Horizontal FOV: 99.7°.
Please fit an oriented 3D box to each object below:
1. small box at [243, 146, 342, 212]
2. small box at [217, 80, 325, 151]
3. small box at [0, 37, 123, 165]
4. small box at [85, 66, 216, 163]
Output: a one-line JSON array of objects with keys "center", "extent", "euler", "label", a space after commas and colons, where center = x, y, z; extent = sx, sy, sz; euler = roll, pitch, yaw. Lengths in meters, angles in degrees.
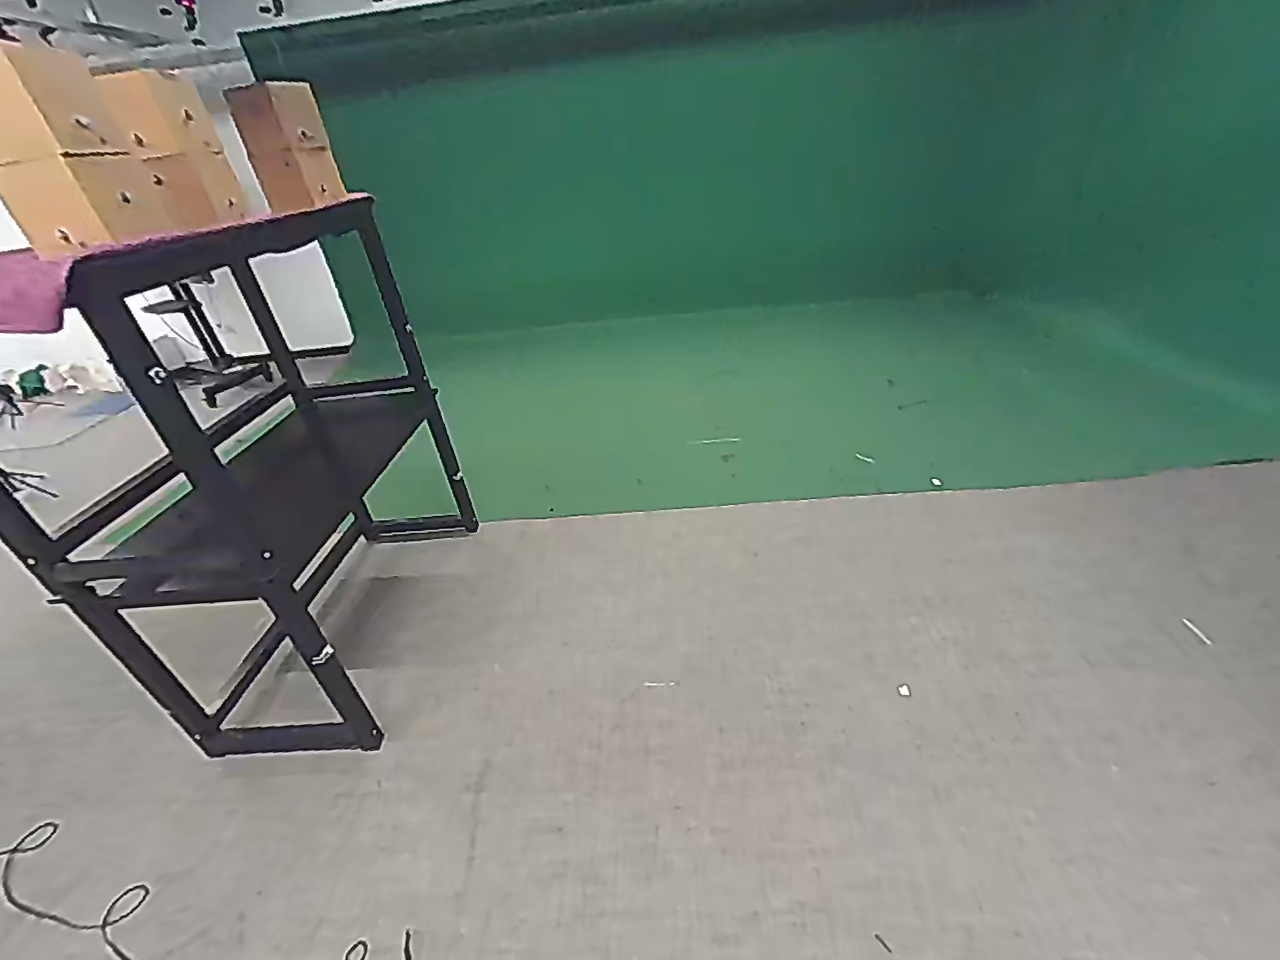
[{"center": [-1.102, -0.964, 1.729], "extent": [0.179, 0.176, 0.168], "euler": [2, 34, 12], "label": "small box"}, {"center": [-1.110, -1.099, 1.640], "extent": [0.179, 0.176, 0.168], "euler": [5, 36, 15], "label": "small box"}, {"center": [-1.136, -0.685, 0.992], "extent": [0.179, 0.176, 0.168], "euler": [-7, 33, 2], "label": "small box"}, {"center": [-1.184, -0.873, 1.298], "extent": [0.179, 0.176, 0.168], "euler": [-6, 32, 2], "label": "small box"}]
